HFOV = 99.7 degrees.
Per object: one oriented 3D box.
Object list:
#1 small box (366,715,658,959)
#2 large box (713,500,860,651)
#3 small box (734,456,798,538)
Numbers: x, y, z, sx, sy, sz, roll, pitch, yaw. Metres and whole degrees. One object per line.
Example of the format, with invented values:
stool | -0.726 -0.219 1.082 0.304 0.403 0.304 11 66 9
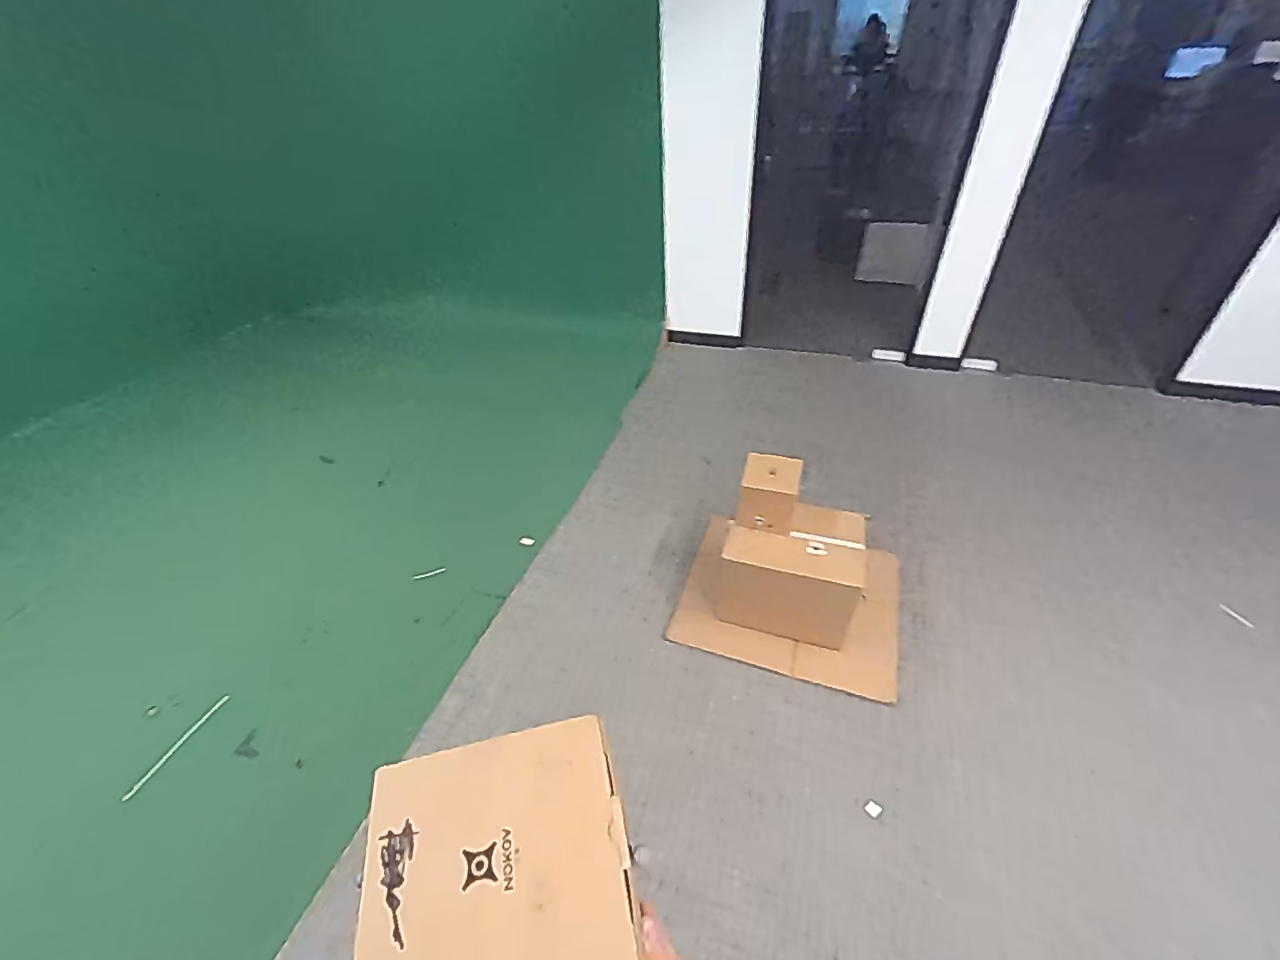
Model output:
small box | -0.087 0.311 0.420 0.179 0.176 0.168 -9 44 -7
large box | 0.468 0.299 1.752 0.408 0.320 0.320 11 42 15
small box | 0.389 0.051 1.676 0.168 0.176 0.179 9 40 15
